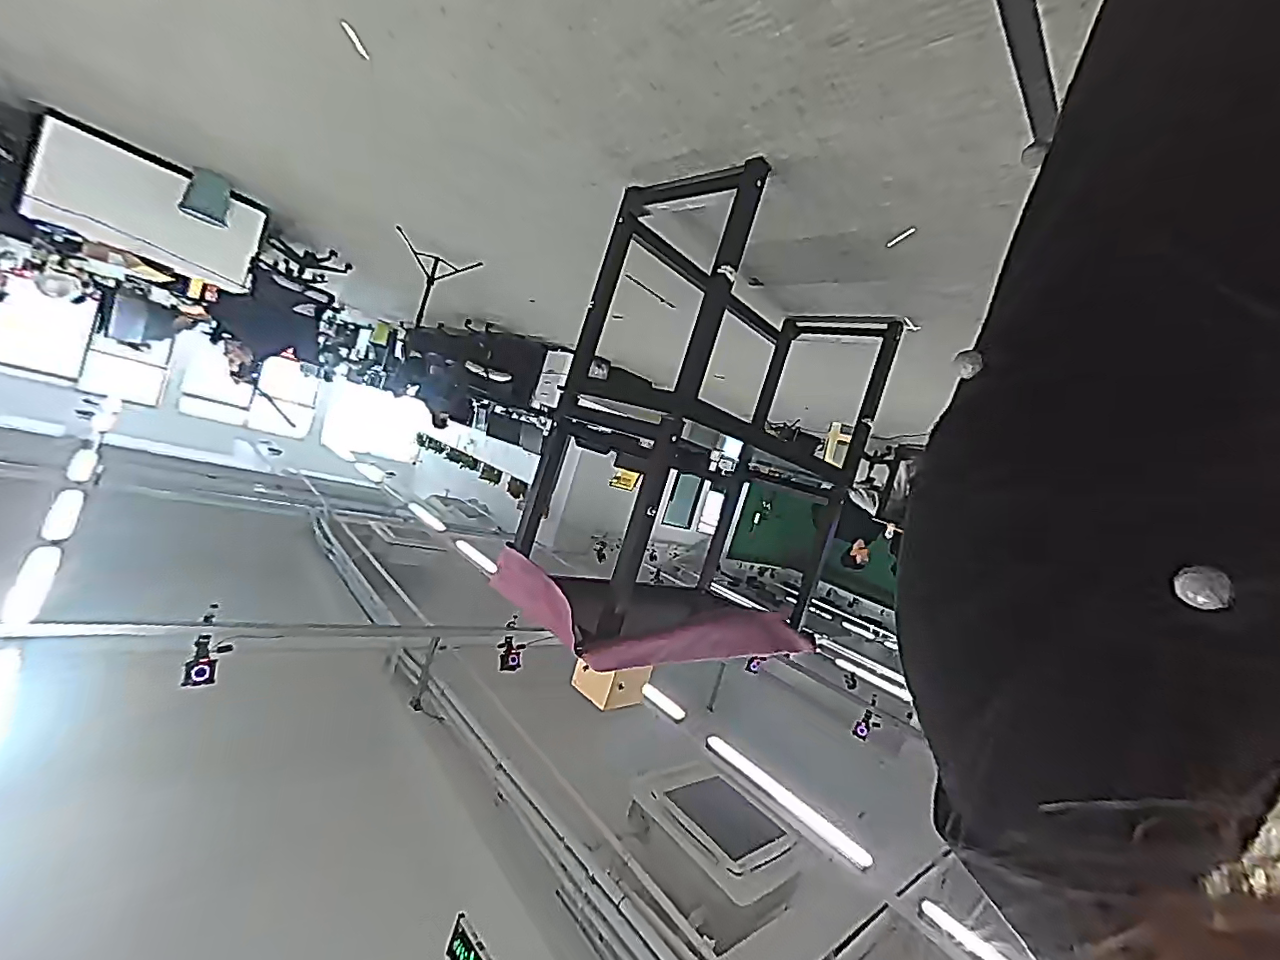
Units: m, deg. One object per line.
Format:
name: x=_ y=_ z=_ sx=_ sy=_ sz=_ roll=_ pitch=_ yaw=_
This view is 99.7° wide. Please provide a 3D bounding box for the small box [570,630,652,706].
small box: x=-0.091 y=0.592 z=1.725 sx=0.168 sy=0.176 sz=0.179 roll=21 pitch=-174 yaw=43
